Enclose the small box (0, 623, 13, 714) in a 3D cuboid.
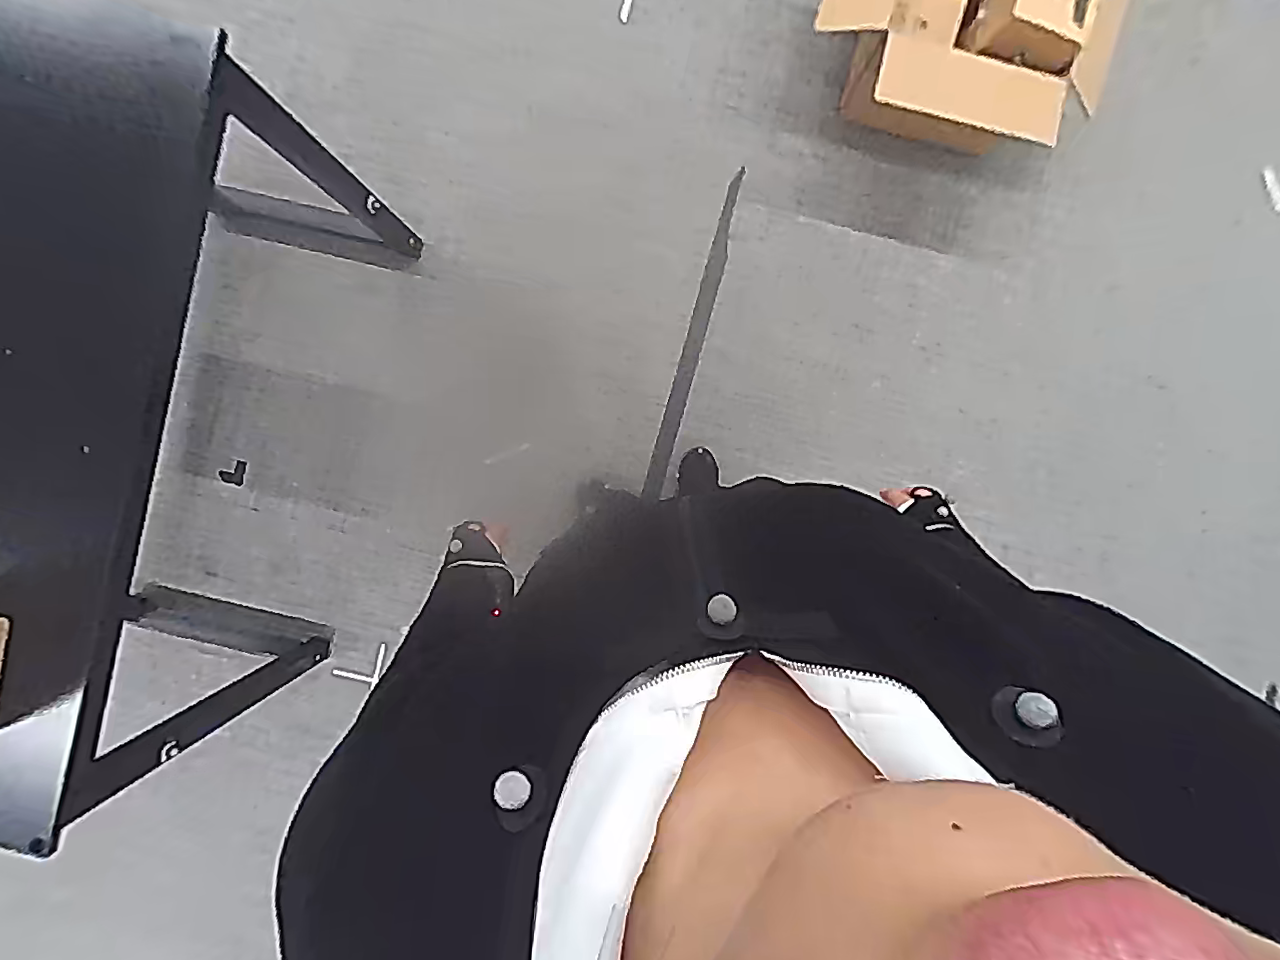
[{"bbox_3d":[-0.994,0.266,0.703,0.168,0.176,0.179,12,93,1],"label":"small box"}]
